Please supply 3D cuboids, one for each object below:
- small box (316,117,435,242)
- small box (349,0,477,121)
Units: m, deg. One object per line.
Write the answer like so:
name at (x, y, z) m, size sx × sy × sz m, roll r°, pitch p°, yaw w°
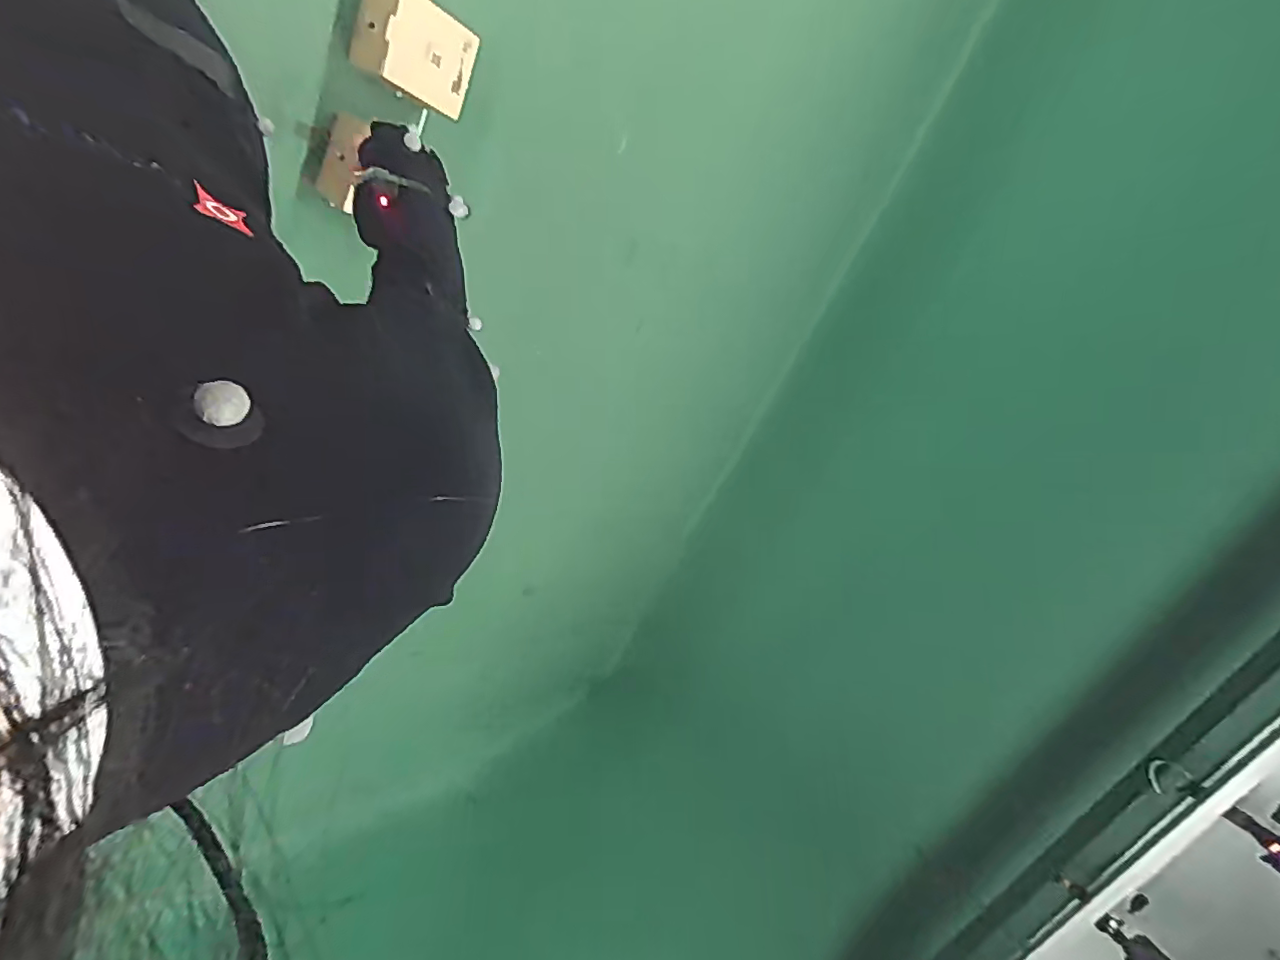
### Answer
small box at (-0.604, -0.677, 1.223) m, size 0.168 × 0.176 × 0.179 m, roll 5°, pitch 118°, yaw -55°
small box at (-0.484, -0.903, 1.144) m, size 0.179 × 0.176 × 0.168 m, roll 1°, pitch 121°, yaw -52°
